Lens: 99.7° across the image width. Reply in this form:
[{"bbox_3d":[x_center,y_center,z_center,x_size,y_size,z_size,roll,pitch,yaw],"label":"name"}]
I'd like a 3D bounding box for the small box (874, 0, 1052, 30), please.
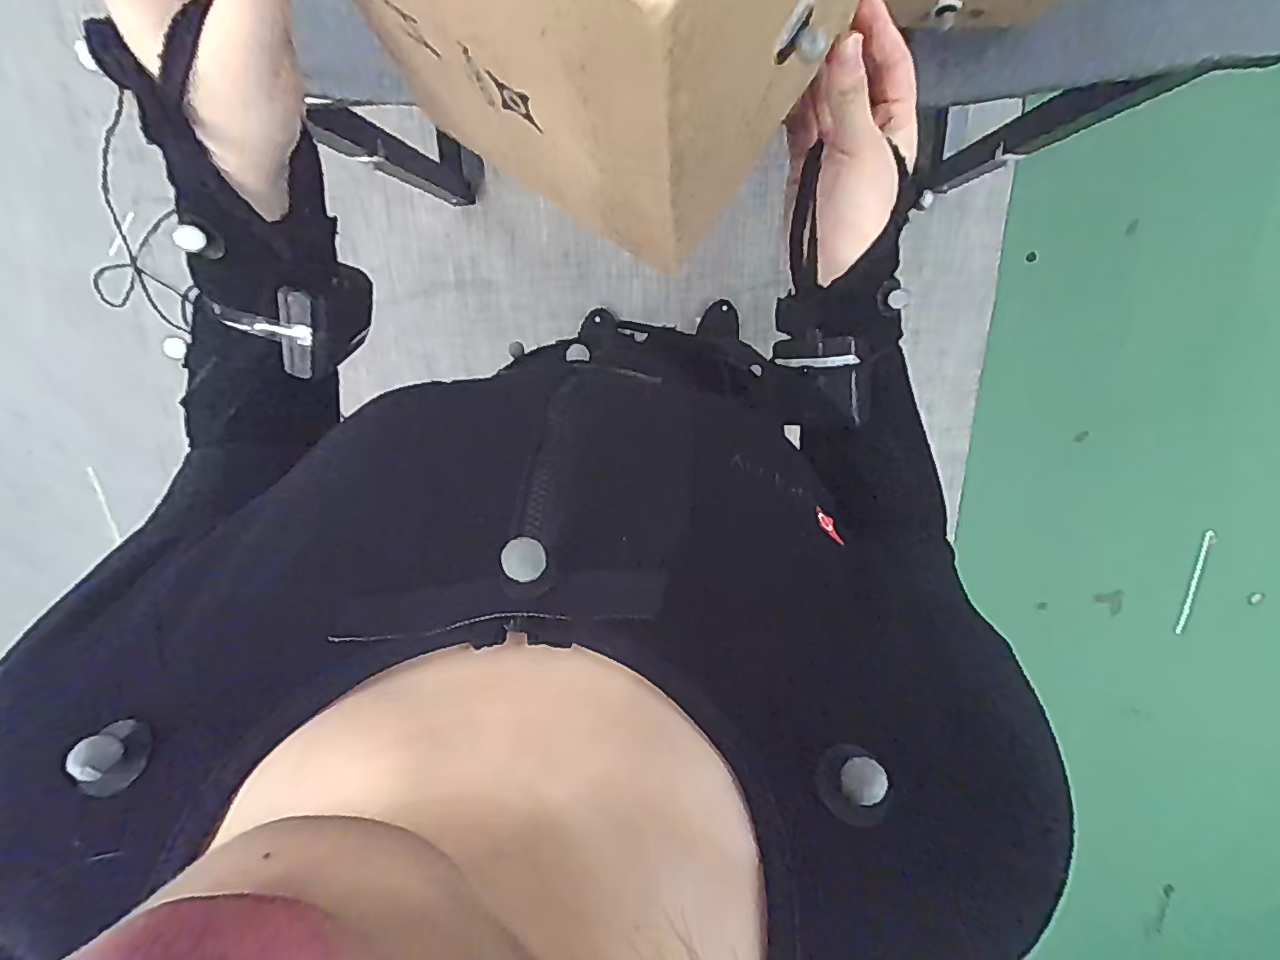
[{"bbox_3d":[0.320,-0.539,0.471,0.168,0.176,0.179,2,107,5],"label":"small box"}]

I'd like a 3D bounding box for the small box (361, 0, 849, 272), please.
[{"bbox_3d":[-0.009,-0.230,0.224,0.179,0.168,0.176,37,93,4],"label":"small box"}]
